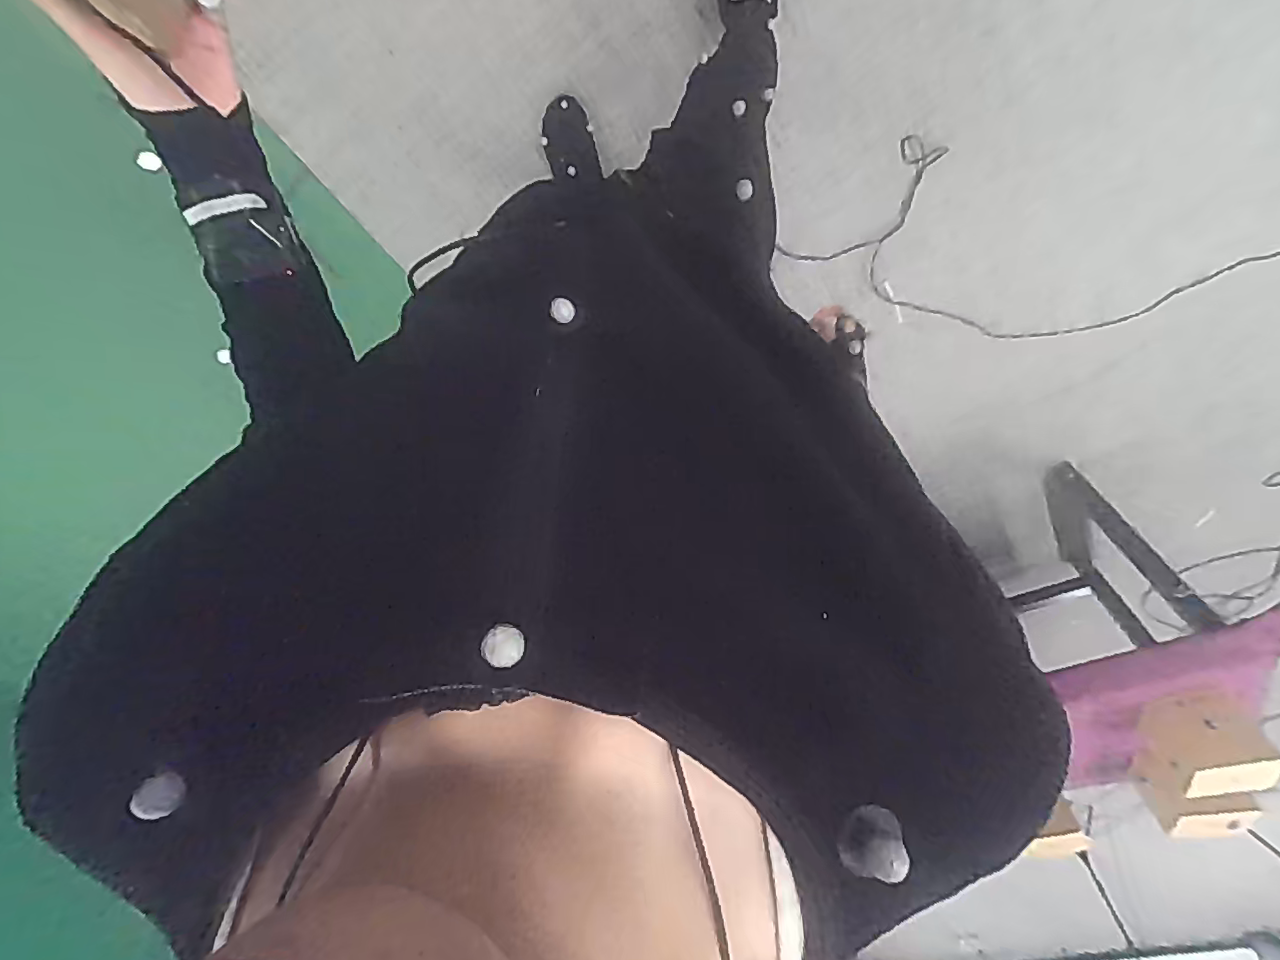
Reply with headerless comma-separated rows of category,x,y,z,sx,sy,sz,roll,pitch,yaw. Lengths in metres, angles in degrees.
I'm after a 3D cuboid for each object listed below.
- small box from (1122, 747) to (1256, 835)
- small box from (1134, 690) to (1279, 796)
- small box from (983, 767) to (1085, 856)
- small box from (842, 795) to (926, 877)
small box,1.473,0.833,1.464,0.179,0.176,0.168,-15,127,14
small box,1.325,0.617,1.281,0.168,0.176,0.179,-19,128,16
small box,1.146,0.964,1.578,0.179,0.176,0.168,-27,123,20
small box,0.771,1.131,1.720,0.168,0.176,0.179,-31,122,22
